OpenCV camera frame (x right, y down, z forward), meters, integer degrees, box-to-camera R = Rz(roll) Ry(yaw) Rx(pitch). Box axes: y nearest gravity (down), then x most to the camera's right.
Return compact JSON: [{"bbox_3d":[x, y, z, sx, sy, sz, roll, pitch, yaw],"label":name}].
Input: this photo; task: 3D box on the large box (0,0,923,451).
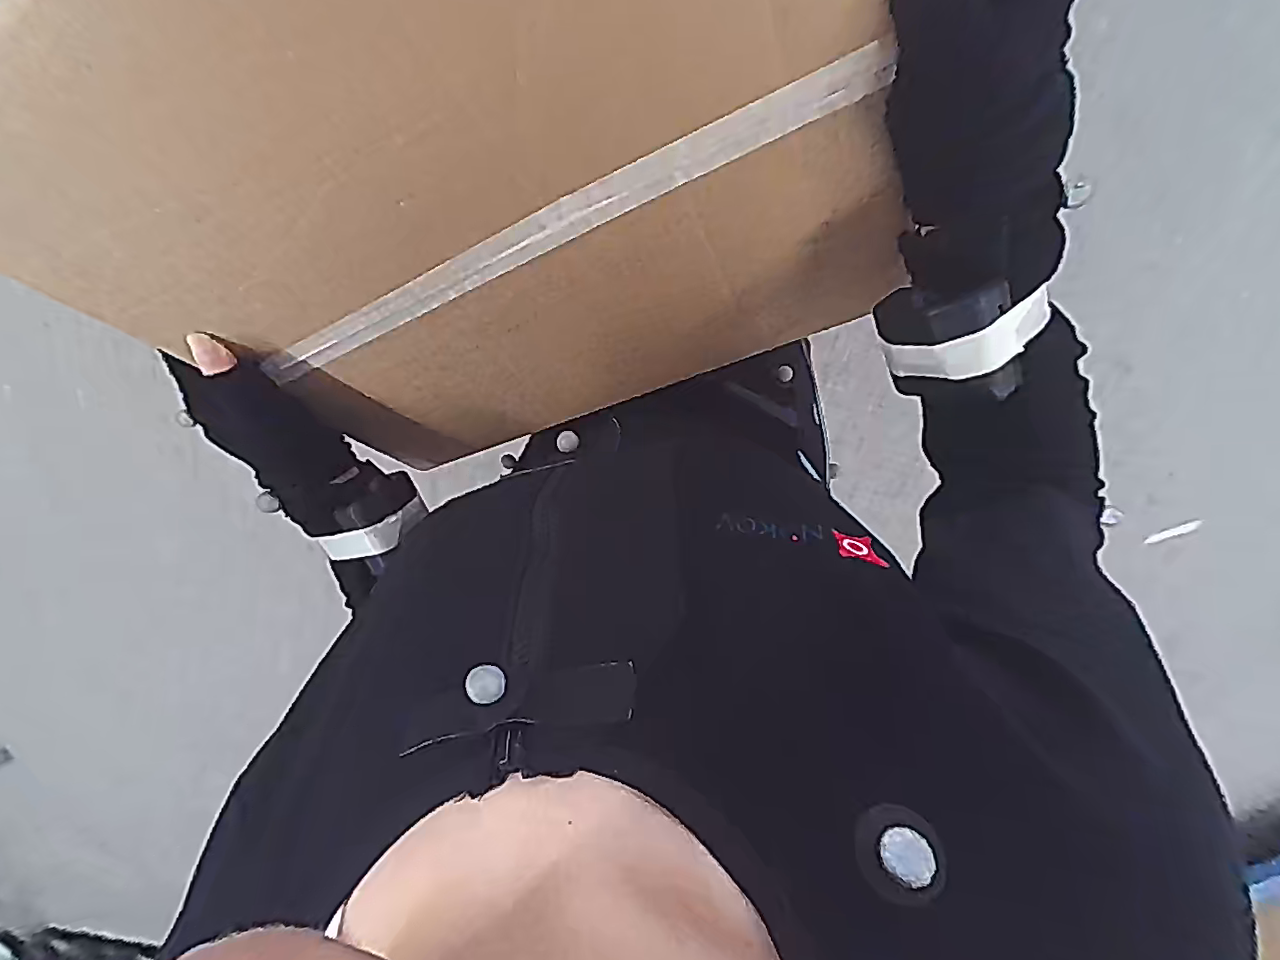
[{"bbox_3d":[-0.080,-0.263,0.349,0.408,0.320,0.320,-15,154,20],"label":"large box"}]
